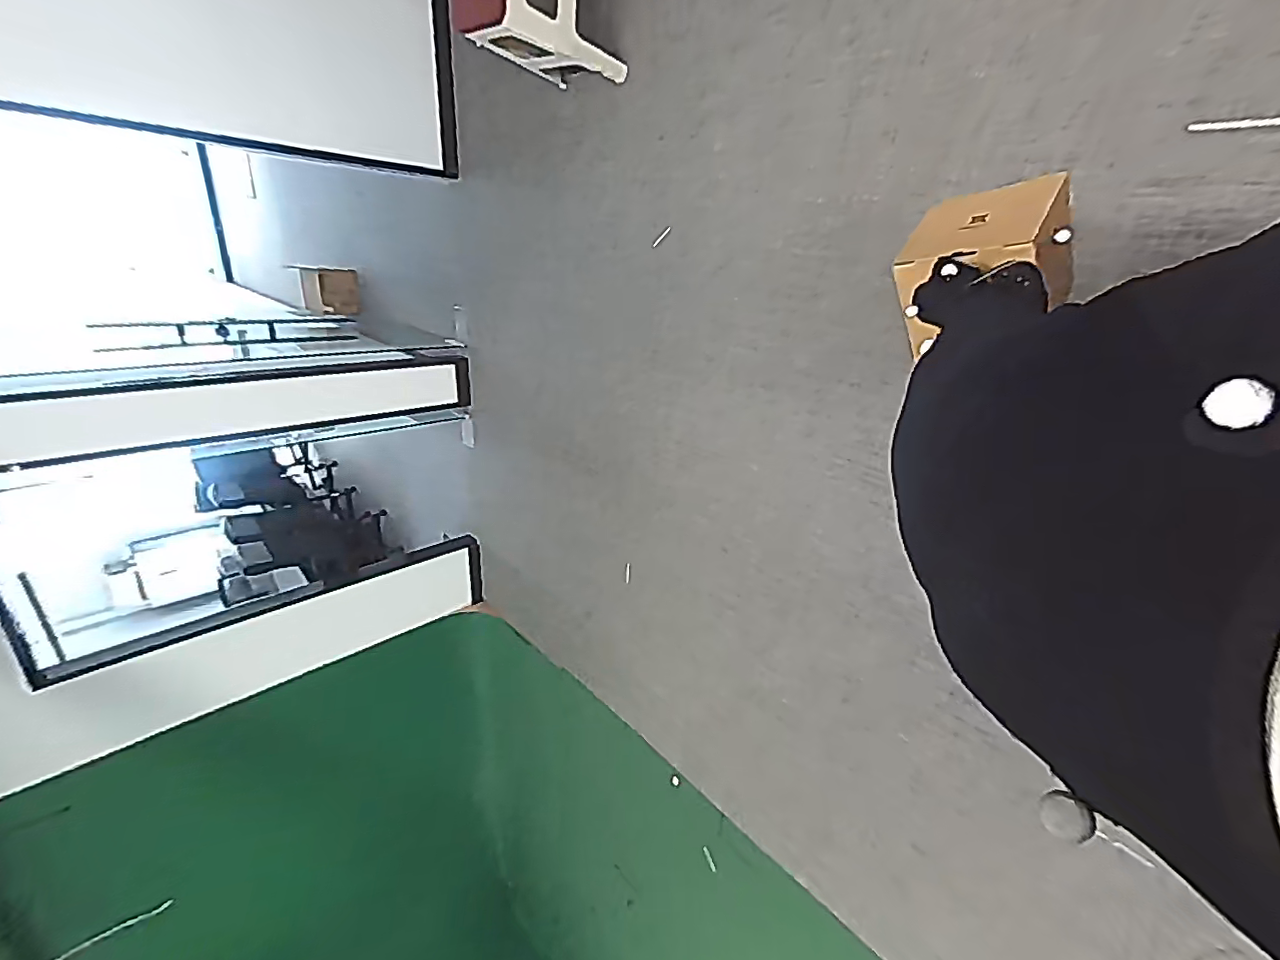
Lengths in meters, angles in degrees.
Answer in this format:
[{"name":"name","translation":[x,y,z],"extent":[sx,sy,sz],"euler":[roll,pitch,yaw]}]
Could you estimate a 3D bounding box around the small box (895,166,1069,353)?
[{"name":"small box","translation":[0.494,-0.304,0.774],"extent":[0.168,0.179,0.176],"euler":[9,144,47]}]
